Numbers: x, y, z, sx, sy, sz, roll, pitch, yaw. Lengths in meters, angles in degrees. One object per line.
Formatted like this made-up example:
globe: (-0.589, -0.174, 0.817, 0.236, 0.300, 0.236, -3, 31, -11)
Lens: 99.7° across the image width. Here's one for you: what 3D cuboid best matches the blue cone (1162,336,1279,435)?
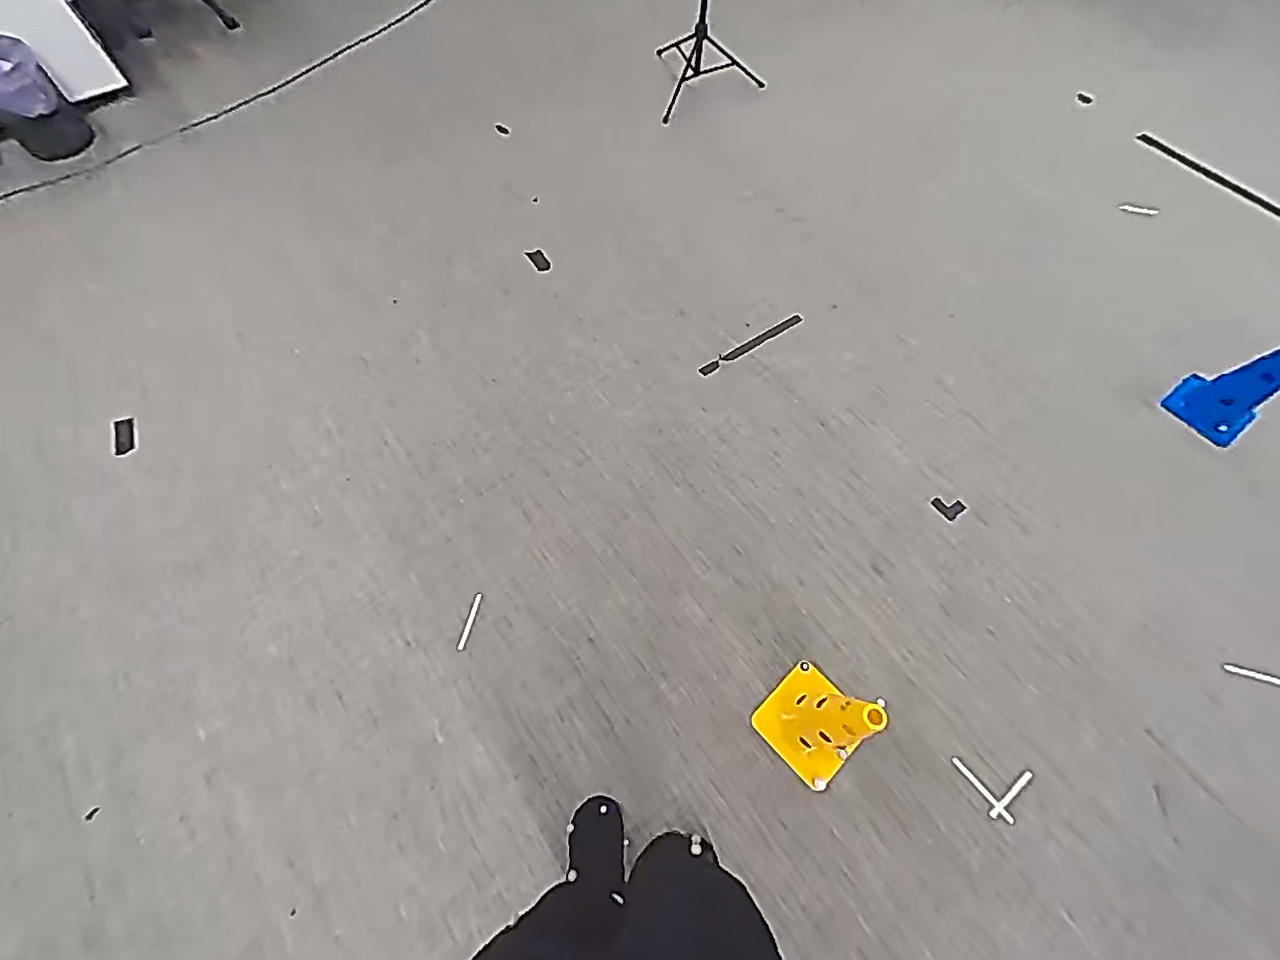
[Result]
blue cone: (1.663, -0.304, 1.442, 0.193, 0.380, 0.192, -33, 67, -16)
